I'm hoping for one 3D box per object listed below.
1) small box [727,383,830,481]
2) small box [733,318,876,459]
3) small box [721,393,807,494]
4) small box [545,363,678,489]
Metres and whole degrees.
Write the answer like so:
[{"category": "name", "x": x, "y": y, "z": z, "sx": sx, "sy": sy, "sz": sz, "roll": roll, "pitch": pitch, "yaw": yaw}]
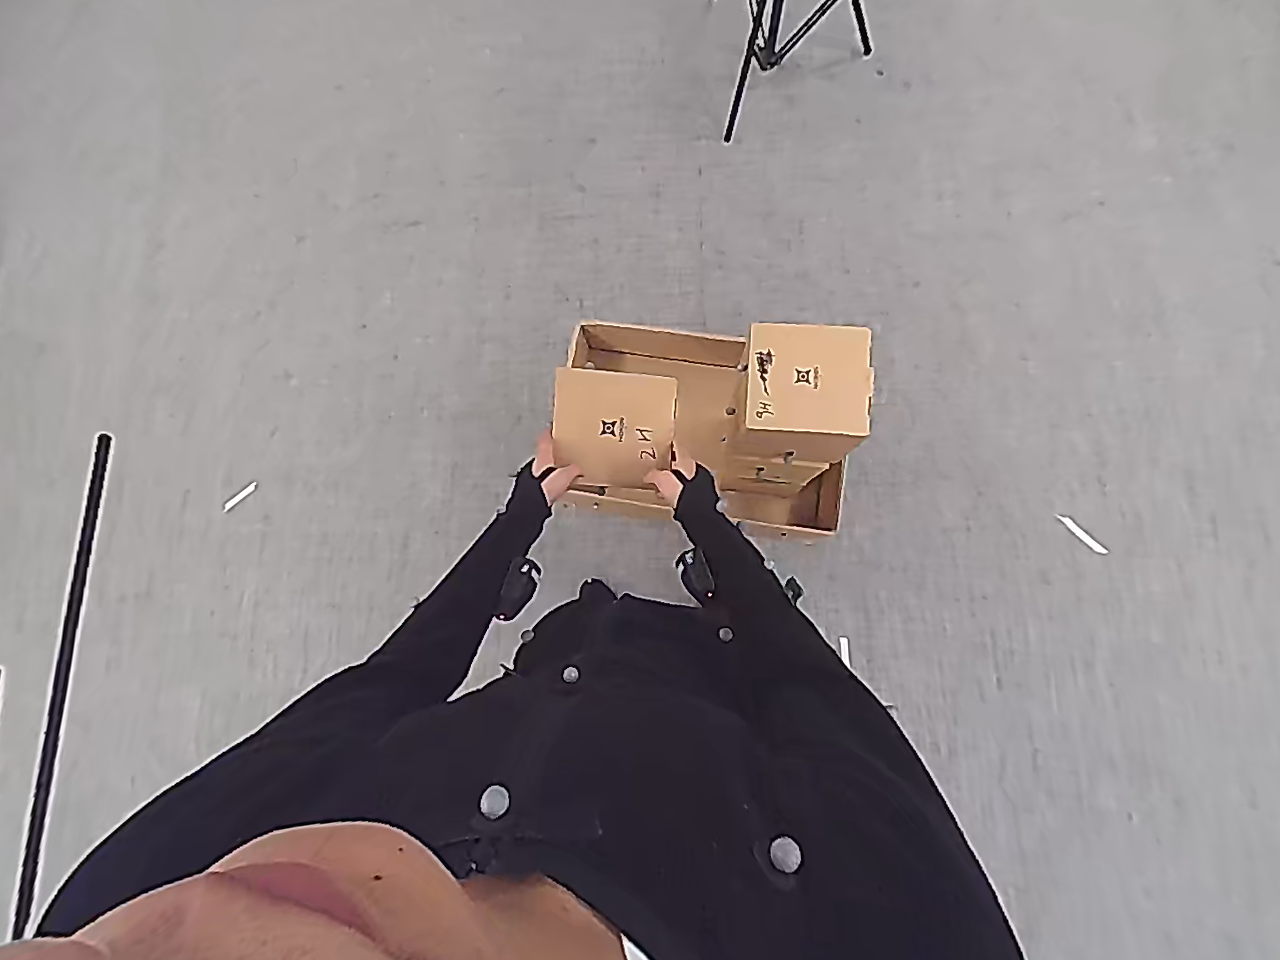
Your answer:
[{"category": "small box", "x": 0.256, "y": -0.101, "z": 1.003, "sx": 0.168, "sy": 0.176, "sz": 0.179, "roll": 7, "pitch": 80, "yaw": 5}, {"category": "small box", "x": 0.247, "y": -0.132, "z": 0.842, "sx": 0.179, "sy": 0.176, "sz": 0.168, "roll": 5, "pitch": 79, "yaw": 4}, {"category": "small box", "x": 0.266, "y": -0.071, "z": 1.162, "sx": 0.168, "sy": 0.176, "sz": 0.179, "roll": 6, "pitch": 80, "yaw": 5}, {"category": "small box", "x": -0.046, "y": -0.075, "z": 0.834, "sx": 0.179, "sy": 0.176, "sz": 0.168, "roll": 4, "pitch": 91, "yaw": -6}]
